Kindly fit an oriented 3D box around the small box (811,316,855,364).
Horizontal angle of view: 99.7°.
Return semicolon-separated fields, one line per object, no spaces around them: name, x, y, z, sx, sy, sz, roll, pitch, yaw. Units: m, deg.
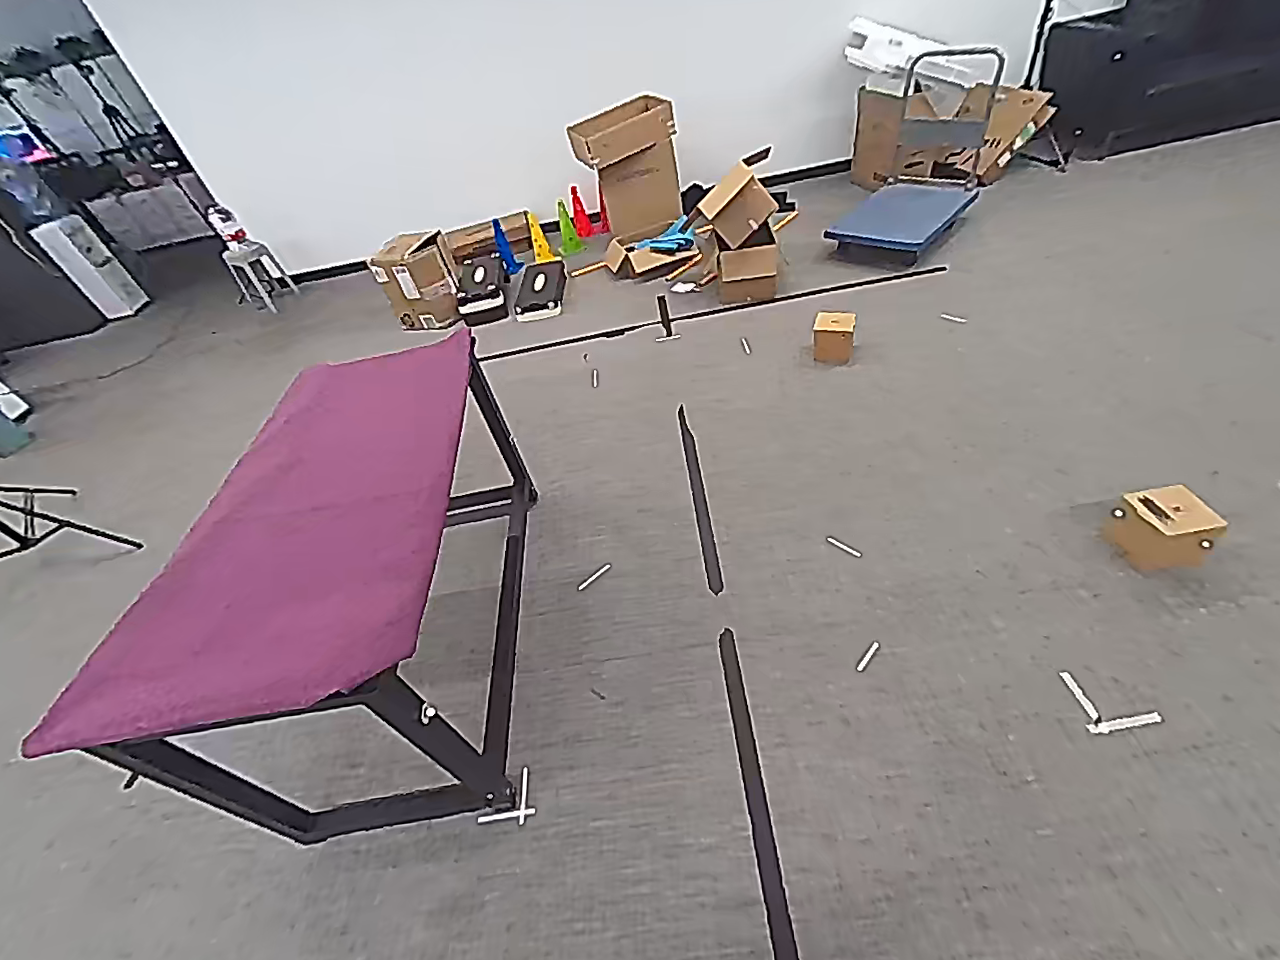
small box;0.923;-0.672;2.591;0.179;0.176;0.168;8;47;21
